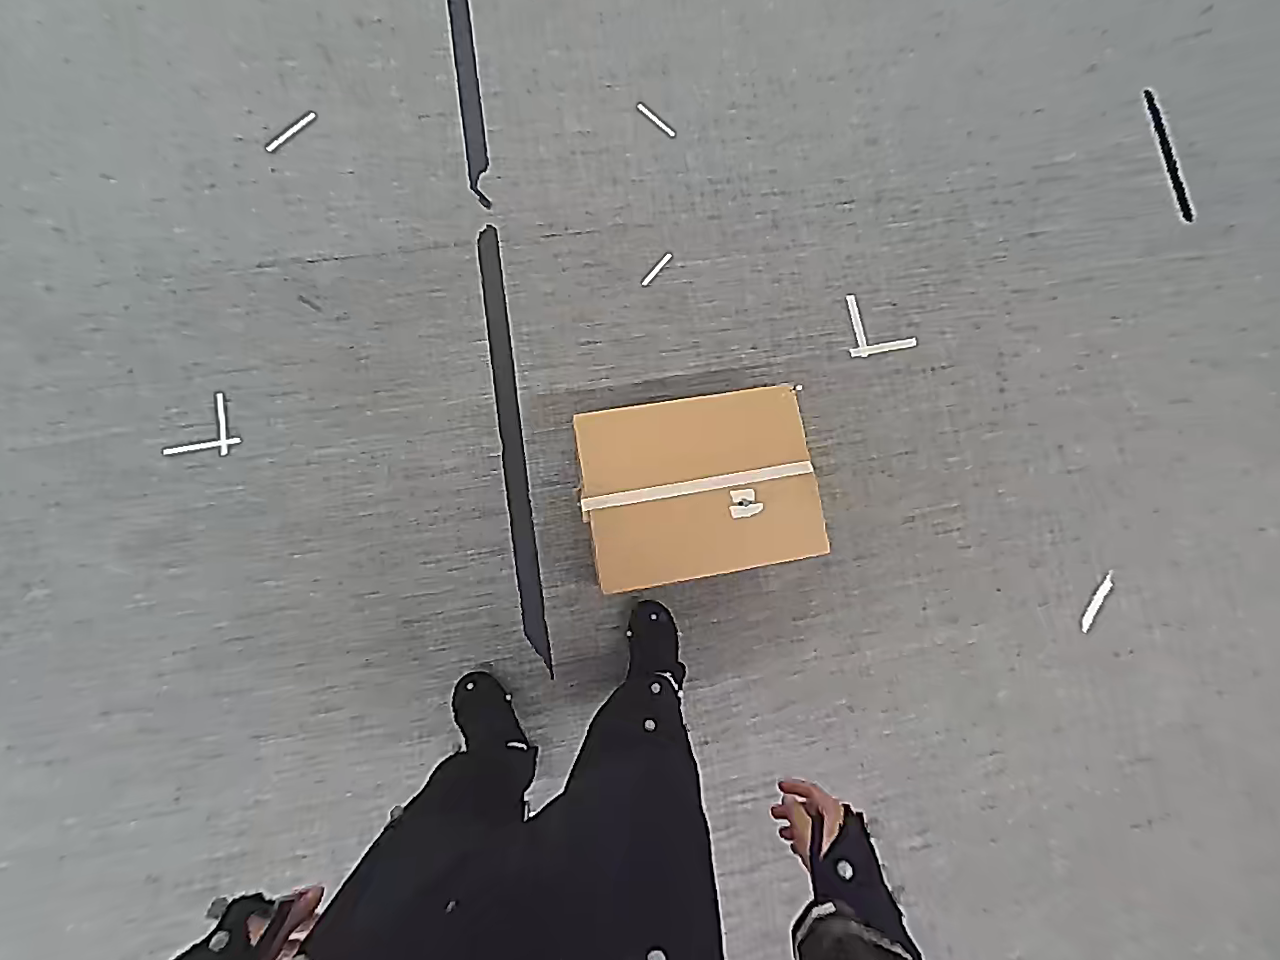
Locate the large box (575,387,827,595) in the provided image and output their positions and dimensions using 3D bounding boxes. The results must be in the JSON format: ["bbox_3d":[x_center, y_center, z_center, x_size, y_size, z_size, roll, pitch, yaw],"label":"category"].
[{"bbox_3d":[0.093,0.033,1.086,0.408,0.320,0.320,-9,84,-8],"label":"large box"}]
